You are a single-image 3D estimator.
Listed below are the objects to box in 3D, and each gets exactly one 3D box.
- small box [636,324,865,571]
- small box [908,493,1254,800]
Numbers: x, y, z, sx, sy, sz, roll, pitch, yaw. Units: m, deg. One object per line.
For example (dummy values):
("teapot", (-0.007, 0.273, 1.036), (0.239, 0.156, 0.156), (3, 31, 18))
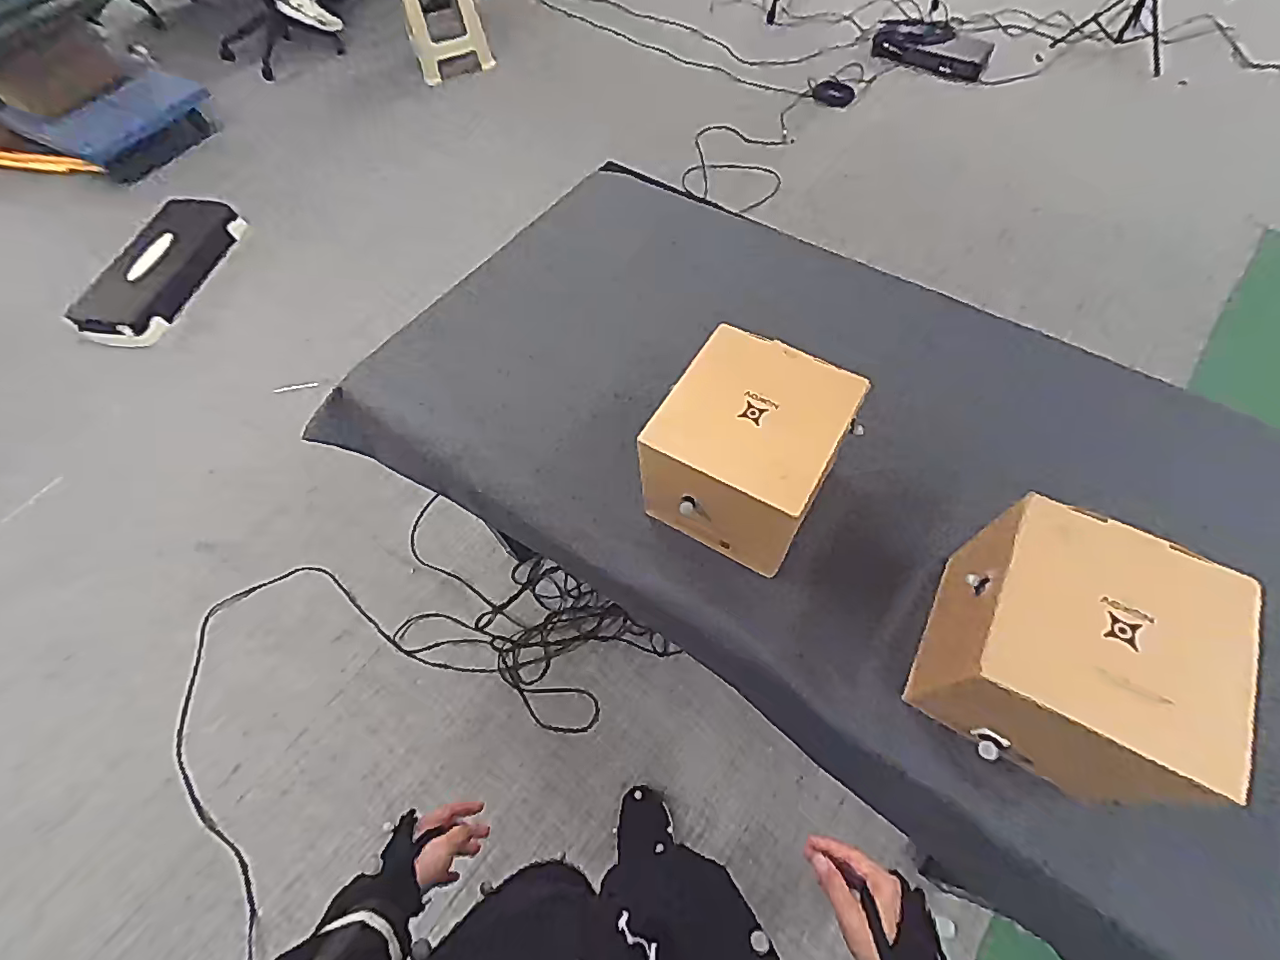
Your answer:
("small box", (0.113, -0.028, 0.587), (0.168, 0.176, 0.179), (27, 65, 17))
("small box", (0.364, 0.148, 0.476), (0.168, 0.176, 0.179), (25, 66, 17))
